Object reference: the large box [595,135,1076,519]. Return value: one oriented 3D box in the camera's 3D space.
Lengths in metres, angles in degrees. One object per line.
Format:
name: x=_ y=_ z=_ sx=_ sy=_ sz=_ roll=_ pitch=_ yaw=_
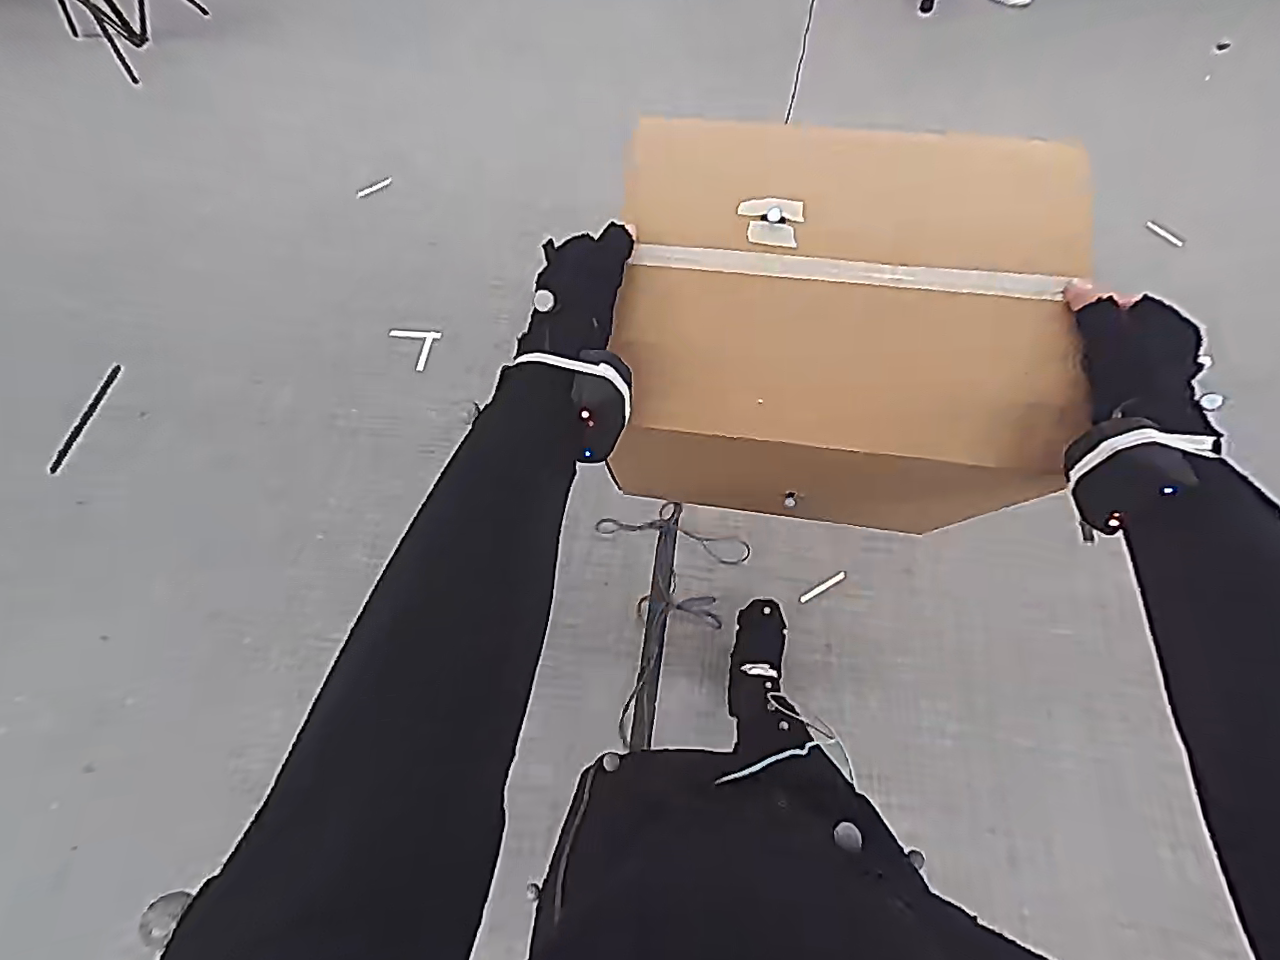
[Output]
large box: x=0.190 y=-0.145 z=0.632 sx=0.408 sy=0.320 sz=0.320 roll=7 pitch=76 yaw=7
